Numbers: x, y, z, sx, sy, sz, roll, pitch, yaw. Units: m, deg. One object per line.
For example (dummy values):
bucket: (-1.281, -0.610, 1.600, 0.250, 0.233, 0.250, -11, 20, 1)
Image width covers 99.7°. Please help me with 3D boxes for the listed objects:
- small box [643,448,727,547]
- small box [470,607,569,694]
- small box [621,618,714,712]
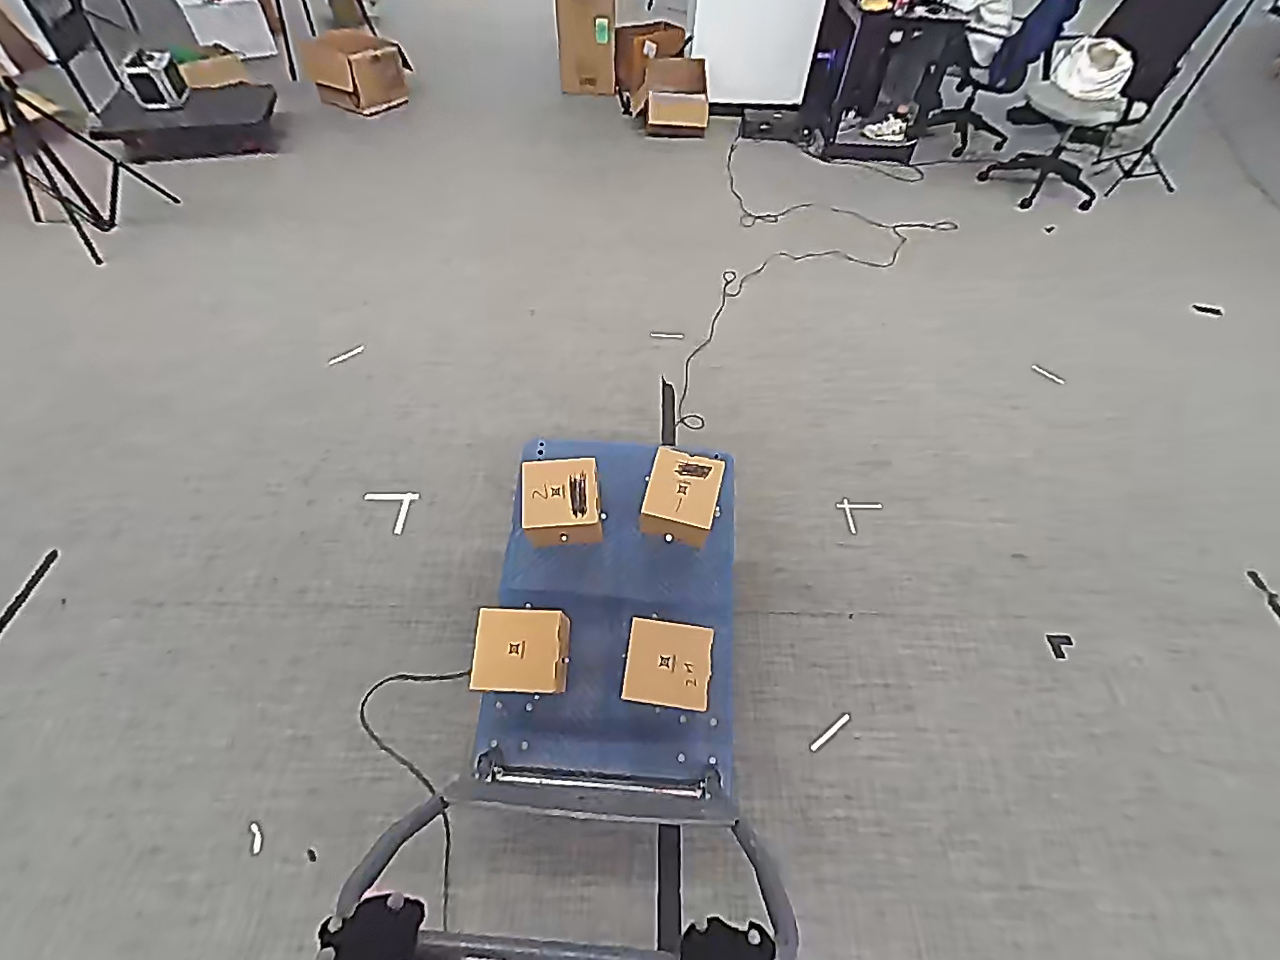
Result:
small box: (0.105, 0.048, 1.334, 0.168, 0.176, 0.179, 14, 70, 5)
small box: (-0.257, 0.382, 1.197, 0.179, 0.176, 0.168, 3, 68, -1)
small box: (0.059, 0.409, 1.188, 0.179, 0.176, 0.168, 8, 69, 3)
